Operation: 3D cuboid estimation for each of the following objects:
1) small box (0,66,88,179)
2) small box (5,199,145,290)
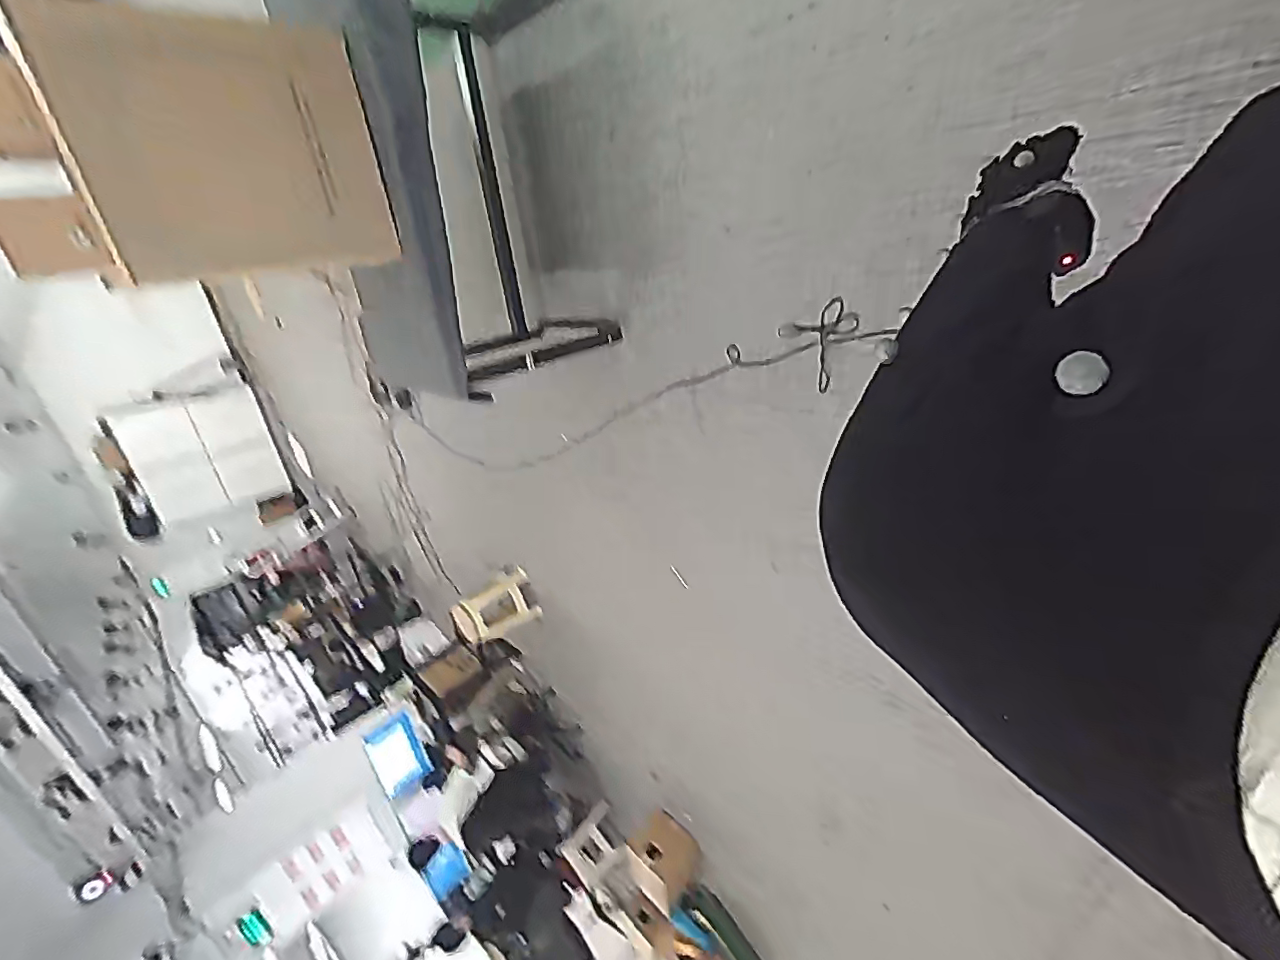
[{"bbox_3d":[-1.326,-0.757,1.149,0.179,0.176,0.168,11,119,46],"label":"small box"},{"bbox_3d":[-1.279,-0.536,1.235,0.179,0.176,0.168,14,124,42],"label":"small box"}]
